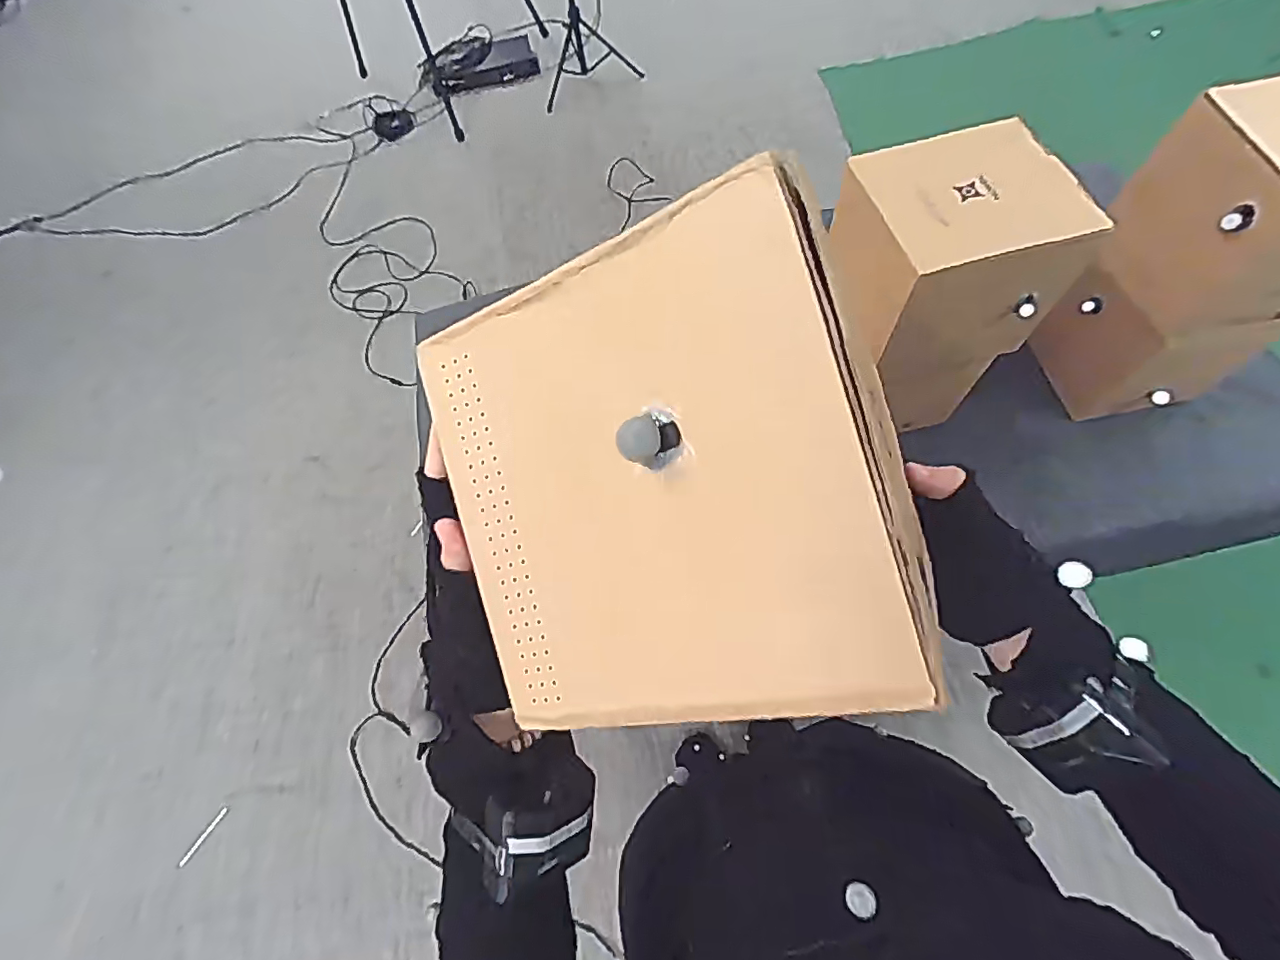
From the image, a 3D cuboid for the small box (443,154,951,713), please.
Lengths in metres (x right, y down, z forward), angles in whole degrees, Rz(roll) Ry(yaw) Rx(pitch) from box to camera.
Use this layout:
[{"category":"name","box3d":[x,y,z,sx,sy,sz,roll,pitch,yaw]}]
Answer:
[{"category":"small box","box3d":[0.032,-0.006,0.270,0.176,0.168,0.179,-17,89,28]}]

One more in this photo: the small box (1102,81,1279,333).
[{"category":"small box","box3d":[0.633,-0.269,0.550,0.168,0.176,0.179,-9,64,3]}]

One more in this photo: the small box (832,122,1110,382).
[{"category":"small box","box3d":[0.315,-0.229,0.571,0.179,0.176,0.168,-14,63,1]}]
